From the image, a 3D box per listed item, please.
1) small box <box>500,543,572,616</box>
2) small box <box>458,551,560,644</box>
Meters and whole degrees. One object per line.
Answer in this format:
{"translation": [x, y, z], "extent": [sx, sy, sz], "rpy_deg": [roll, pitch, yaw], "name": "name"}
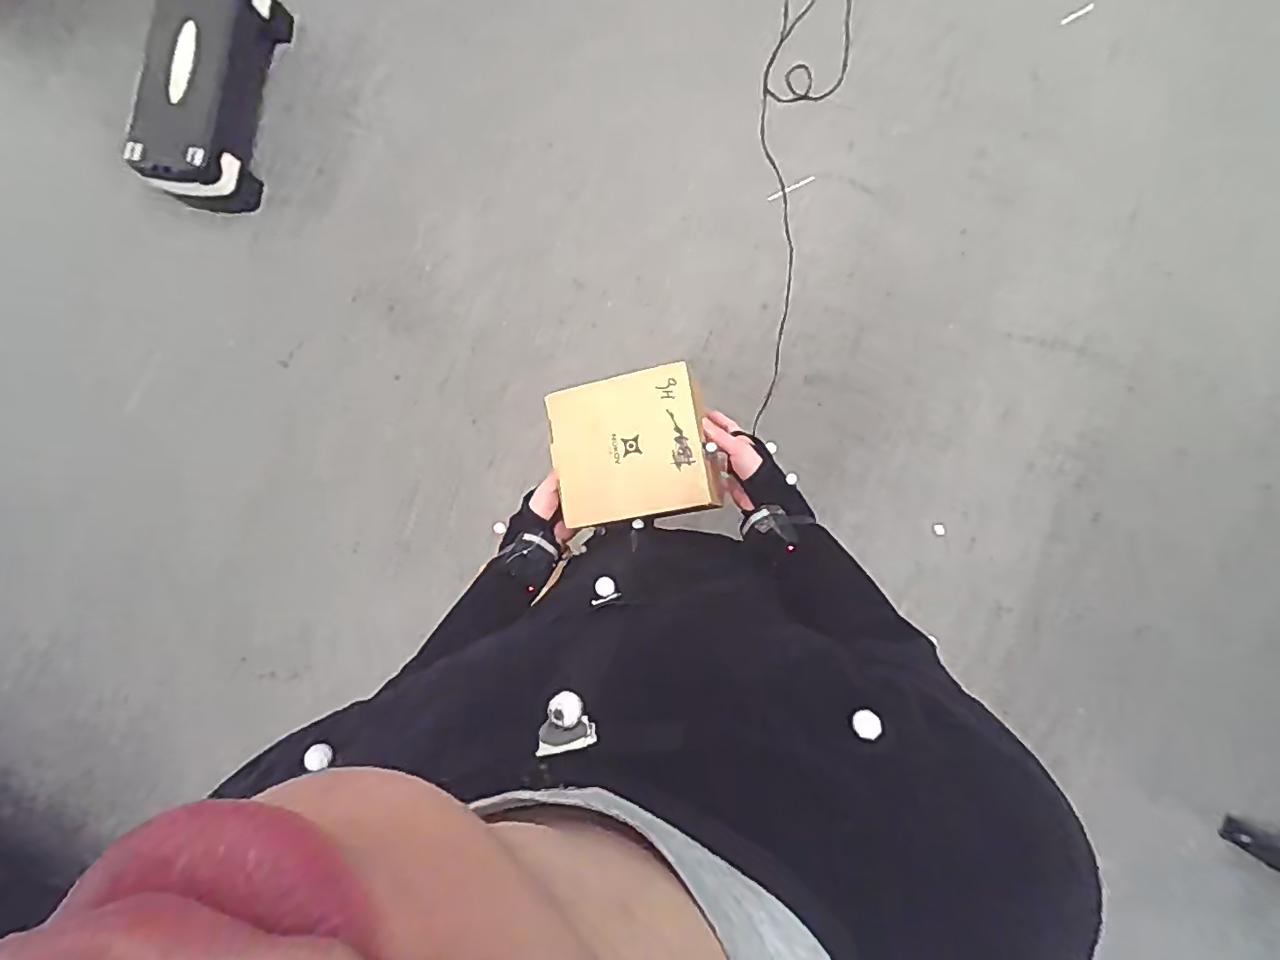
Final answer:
{"translation": [-0.308, 0.282, 1.516], "extent": [0.179, 0.176, 0.168], "rpy_deg": [18, 92, 5], "name": "small box"}
{"translation": [-0.320, 0.283, 1.352], "extent": [0.179, 0.176, 0.168], "rpy_deg": [18, 92, 6], "name": "small box"}
